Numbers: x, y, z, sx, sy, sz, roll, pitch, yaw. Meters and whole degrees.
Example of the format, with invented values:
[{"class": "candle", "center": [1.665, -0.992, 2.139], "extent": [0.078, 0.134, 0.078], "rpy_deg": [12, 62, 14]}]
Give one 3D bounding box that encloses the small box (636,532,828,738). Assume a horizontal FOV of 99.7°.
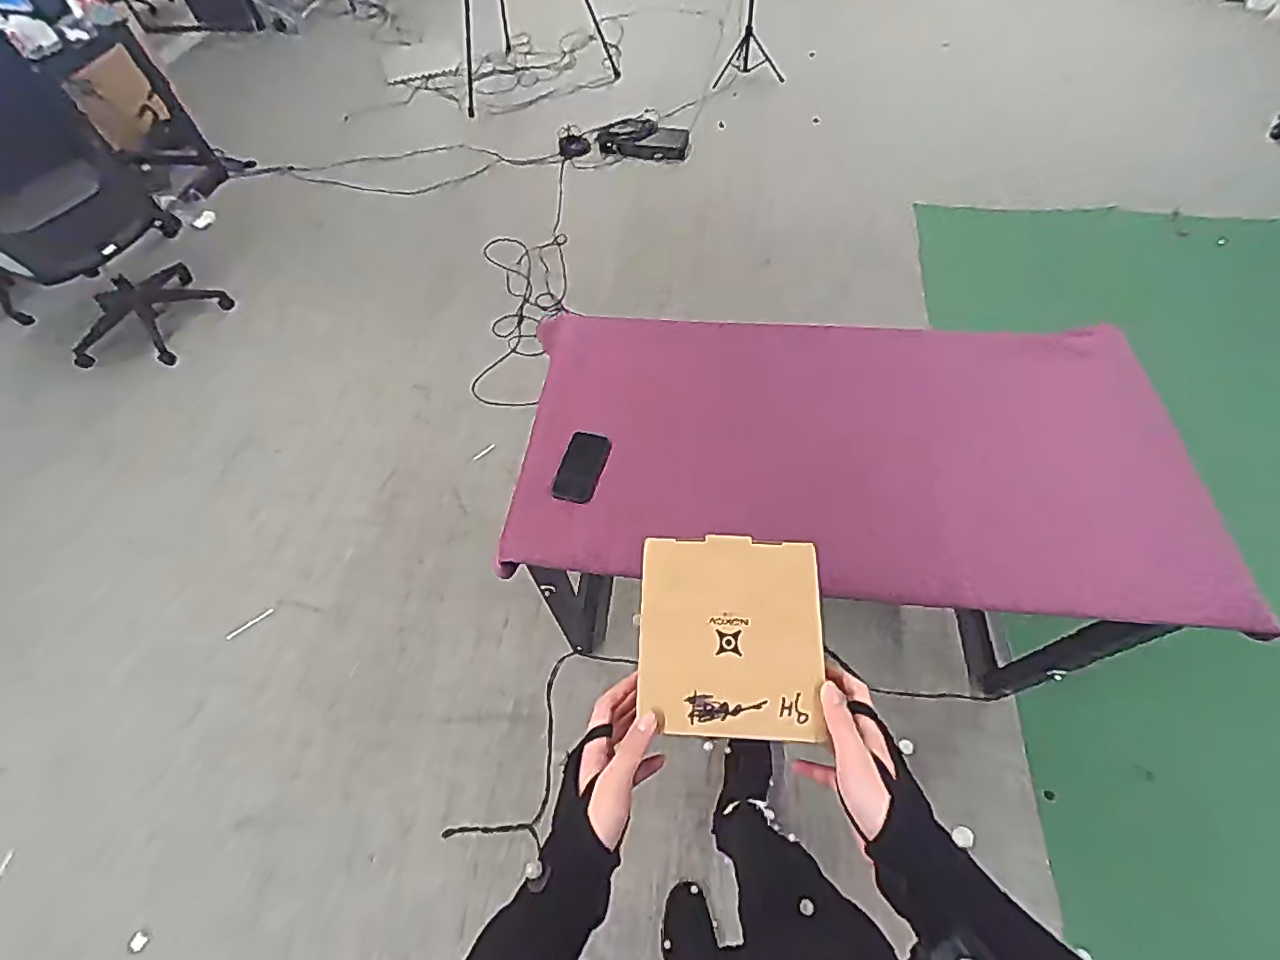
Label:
[{"class": "small box", "center": [0.087, 0.164, 0.565], "extent": [0.168, 0.176, 0.179], "rpy_deg": [1, 68, 5]}]
